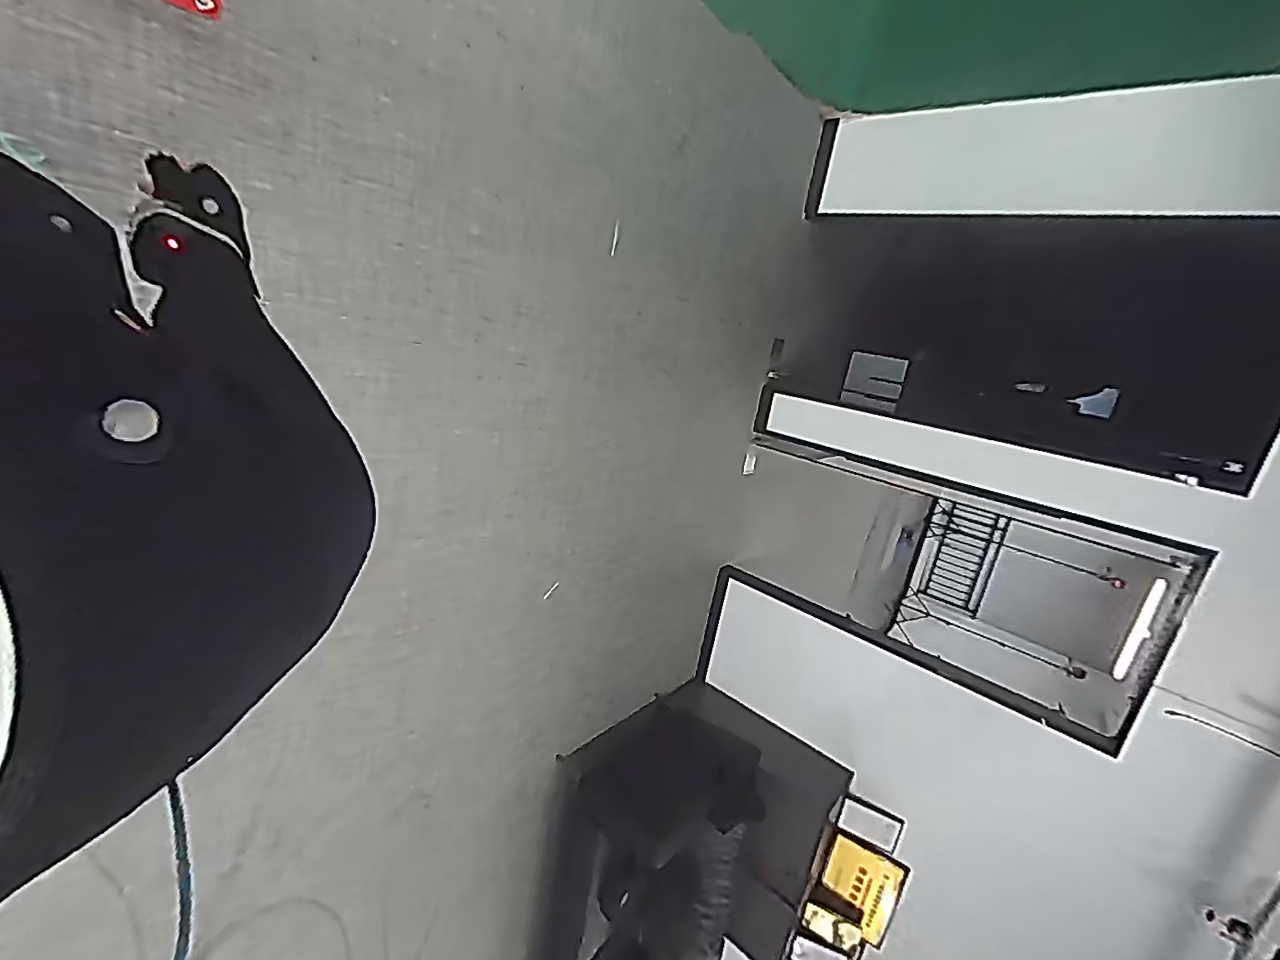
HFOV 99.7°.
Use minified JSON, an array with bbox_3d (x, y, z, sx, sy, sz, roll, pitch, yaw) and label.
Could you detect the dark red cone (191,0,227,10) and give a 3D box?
[{"bbox_3d":[-0.710,-0.909,0.822,0.202,0.394,0.201,-15,118,-48],"label":"dark red cone"}]
